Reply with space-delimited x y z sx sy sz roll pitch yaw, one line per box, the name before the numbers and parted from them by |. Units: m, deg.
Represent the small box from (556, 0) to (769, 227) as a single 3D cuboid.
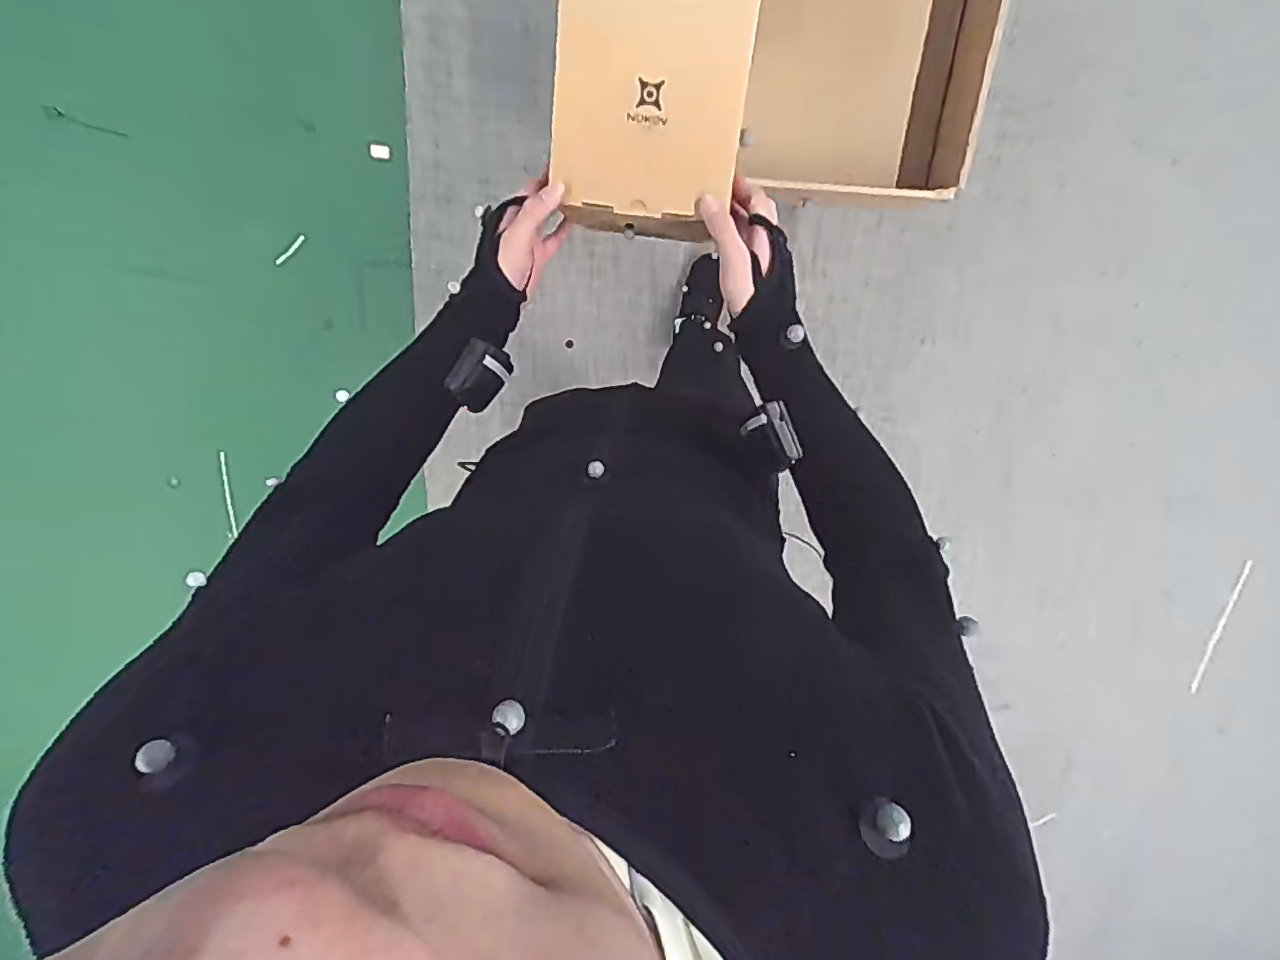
small box | 0.017 -0.360 0.531 0.168 0.176 0.179 7 110 0
